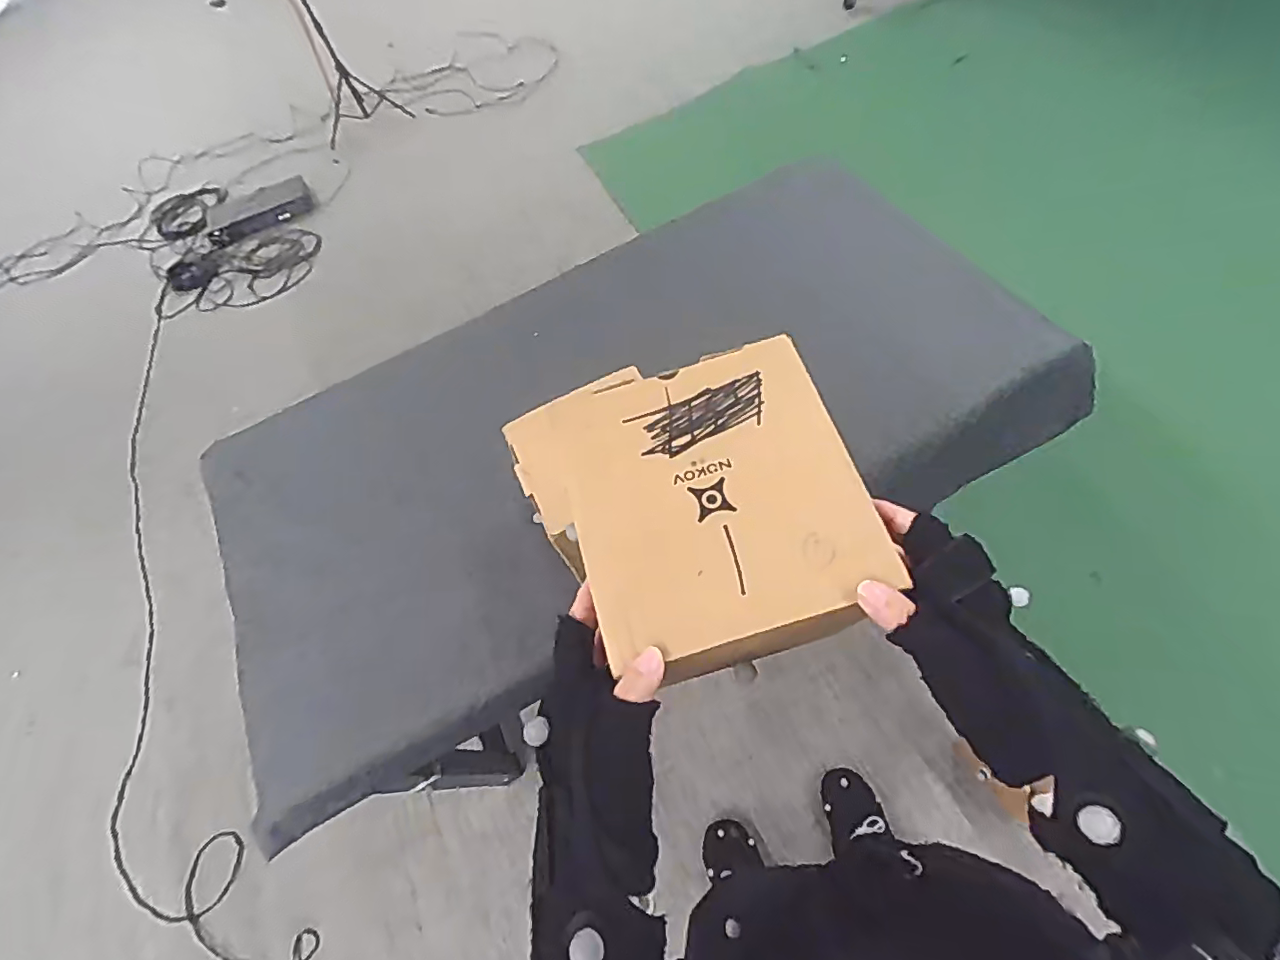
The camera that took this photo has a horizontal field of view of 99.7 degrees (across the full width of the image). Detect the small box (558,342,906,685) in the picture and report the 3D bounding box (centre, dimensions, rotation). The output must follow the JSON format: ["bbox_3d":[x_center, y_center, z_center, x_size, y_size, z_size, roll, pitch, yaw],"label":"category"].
[{"bbox_3d":[0.051,0.037,0.391,0.168,0.176,0.179,-16,66,1],"label":"small box"}]

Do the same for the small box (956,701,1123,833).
[{"bbox_3d":[0.777,0.566,1.077,0.179,0.176,0.168,-28,60,-5],"label":"small box"}]

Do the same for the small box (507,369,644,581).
[{"bbox_3d":[-0.036,0.002,0.672,0.179,0.176,0.168,-25,60,-5],"label":"small box"}]
